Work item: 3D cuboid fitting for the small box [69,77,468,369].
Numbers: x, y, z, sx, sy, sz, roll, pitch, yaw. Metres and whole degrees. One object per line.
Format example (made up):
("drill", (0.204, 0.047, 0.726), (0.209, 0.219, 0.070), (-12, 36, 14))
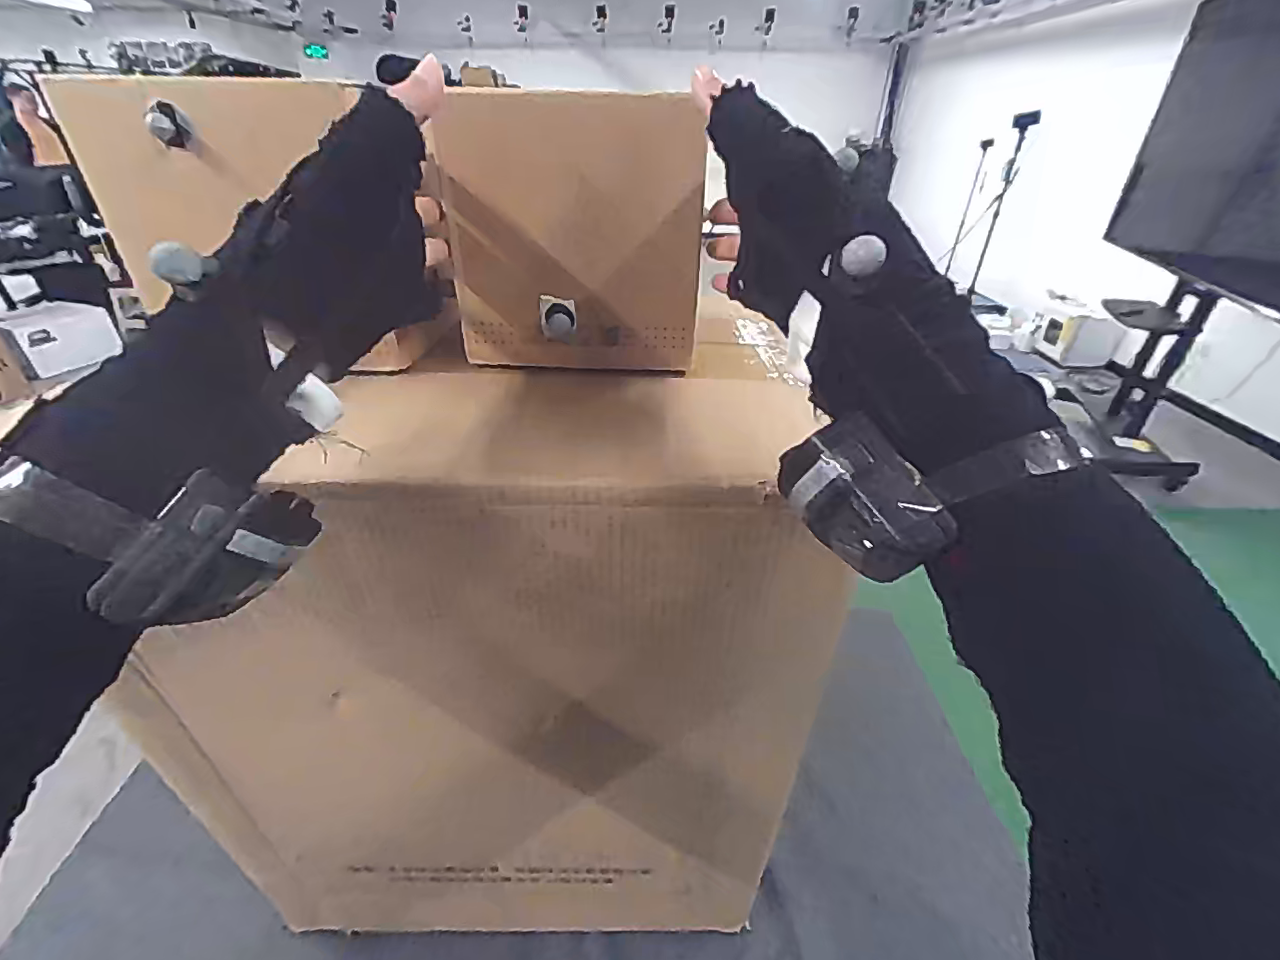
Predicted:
("small box", (-0.242, -0.194, 0.416), (0.168, 0.176, 0.179), (0, 31, 1))
